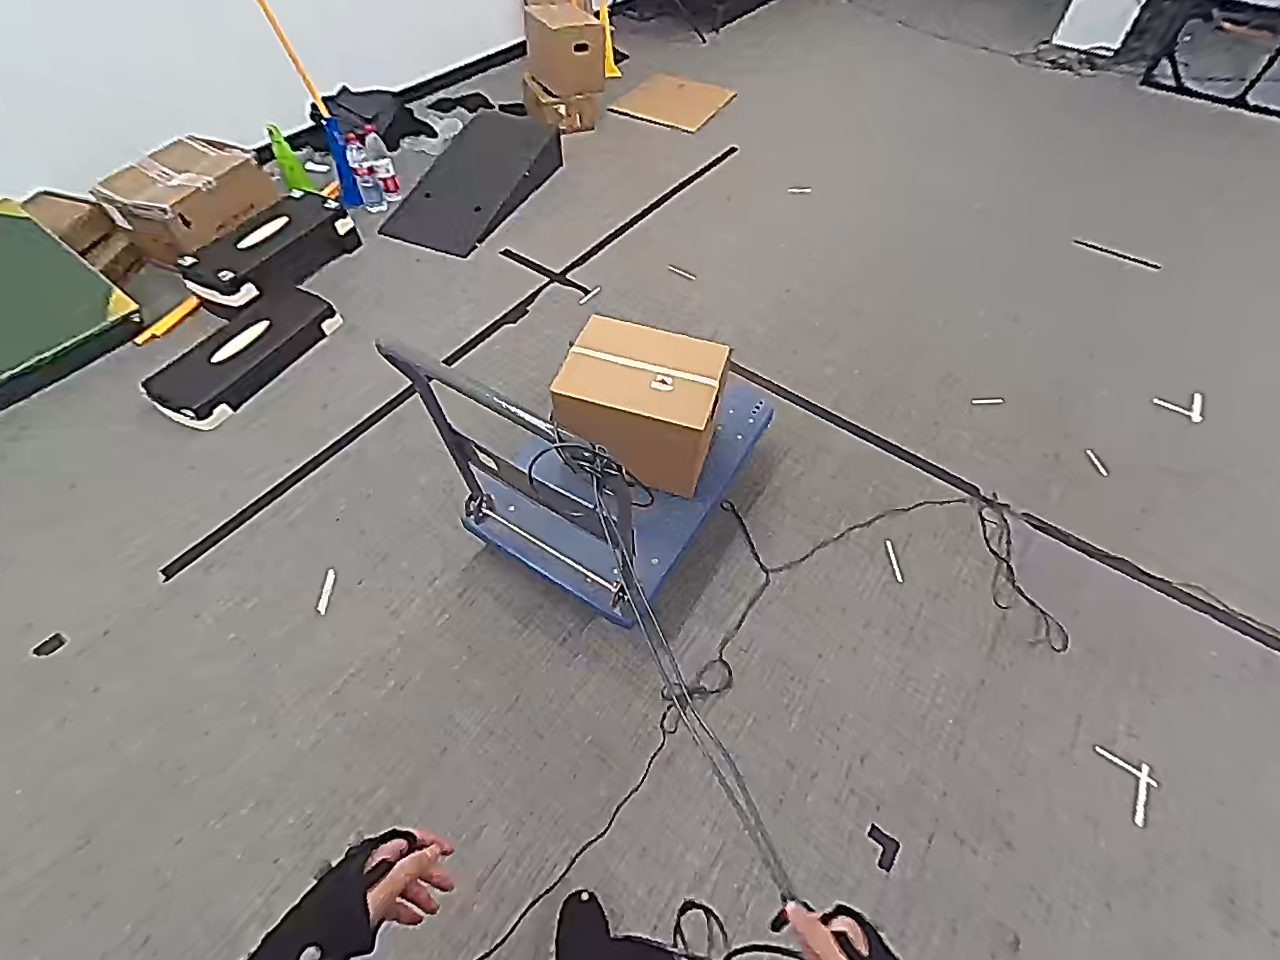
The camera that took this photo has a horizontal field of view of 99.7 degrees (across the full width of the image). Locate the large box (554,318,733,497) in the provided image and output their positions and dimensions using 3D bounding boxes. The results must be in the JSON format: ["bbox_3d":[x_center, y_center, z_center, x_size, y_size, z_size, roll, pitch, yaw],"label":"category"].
[{"bbox_3d":[0.010,-0.200,1.519,0.408,0.320,0.320,16,58,9],"label":"large box"}]
